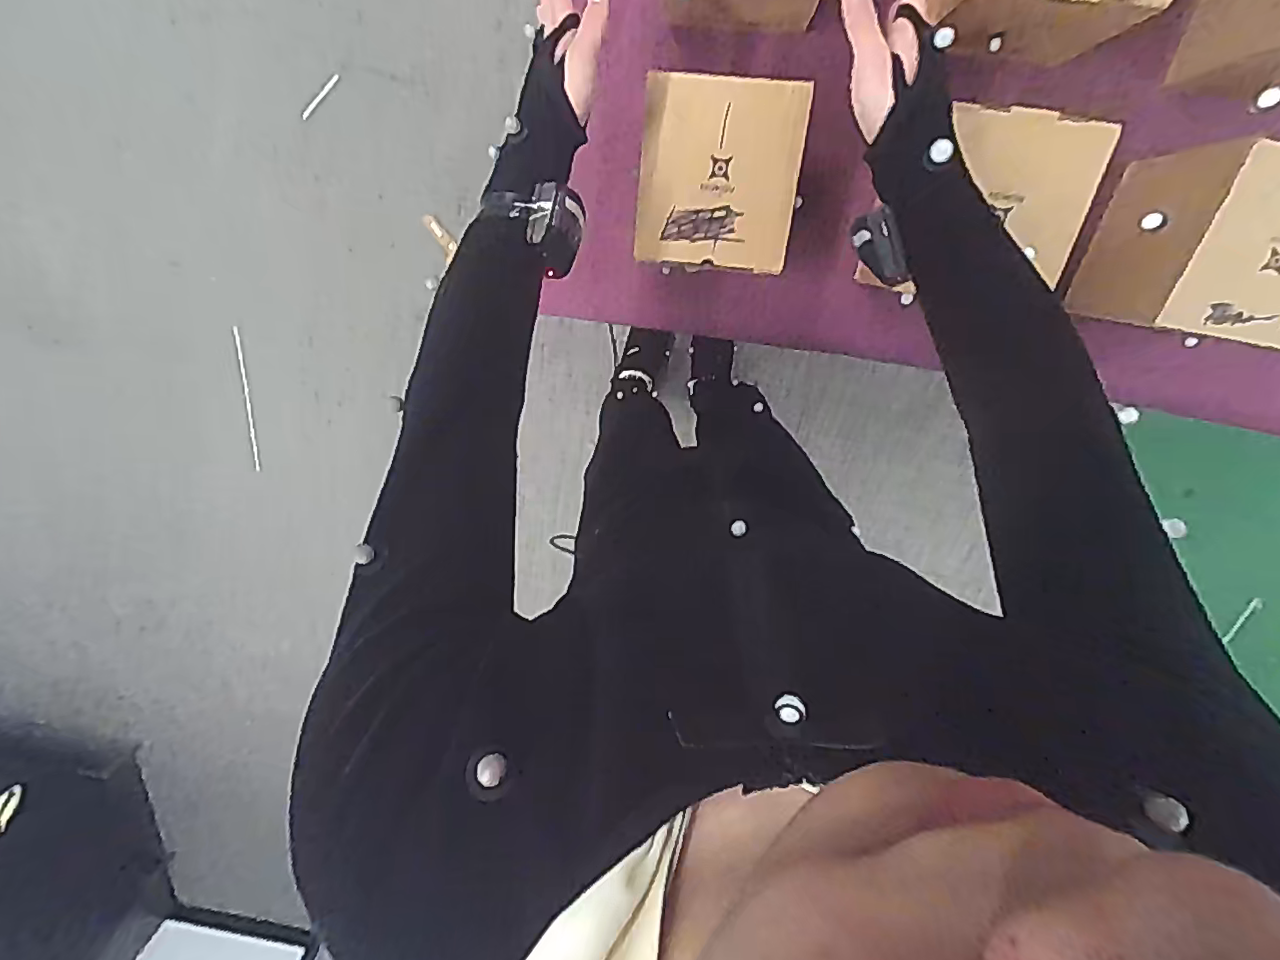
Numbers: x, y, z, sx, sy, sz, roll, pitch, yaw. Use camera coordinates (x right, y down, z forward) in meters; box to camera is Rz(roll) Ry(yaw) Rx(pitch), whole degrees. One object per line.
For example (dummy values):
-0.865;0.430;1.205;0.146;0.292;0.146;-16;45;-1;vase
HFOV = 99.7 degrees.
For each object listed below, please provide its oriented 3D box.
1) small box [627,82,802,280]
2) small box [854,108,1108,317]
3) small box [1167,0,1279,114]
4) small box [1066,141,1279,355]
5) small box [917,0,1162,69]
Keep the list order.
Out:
0.082;-0.338;0.642;0.168;0.176;0.179;7;111;4;small box
0.366;-0.299;0.626;0.168;0.176;0.179;10;114;4;small box
0.673;-0.476;0.509;0.168;0.176;0.179;11;114;3;small box
0.638;-0.252;0.609;0.168;0.176;0.179;12;113;3;small box
0.398;-0.535;0.522;0.168;0.176;0.179;10;115;3;small box
